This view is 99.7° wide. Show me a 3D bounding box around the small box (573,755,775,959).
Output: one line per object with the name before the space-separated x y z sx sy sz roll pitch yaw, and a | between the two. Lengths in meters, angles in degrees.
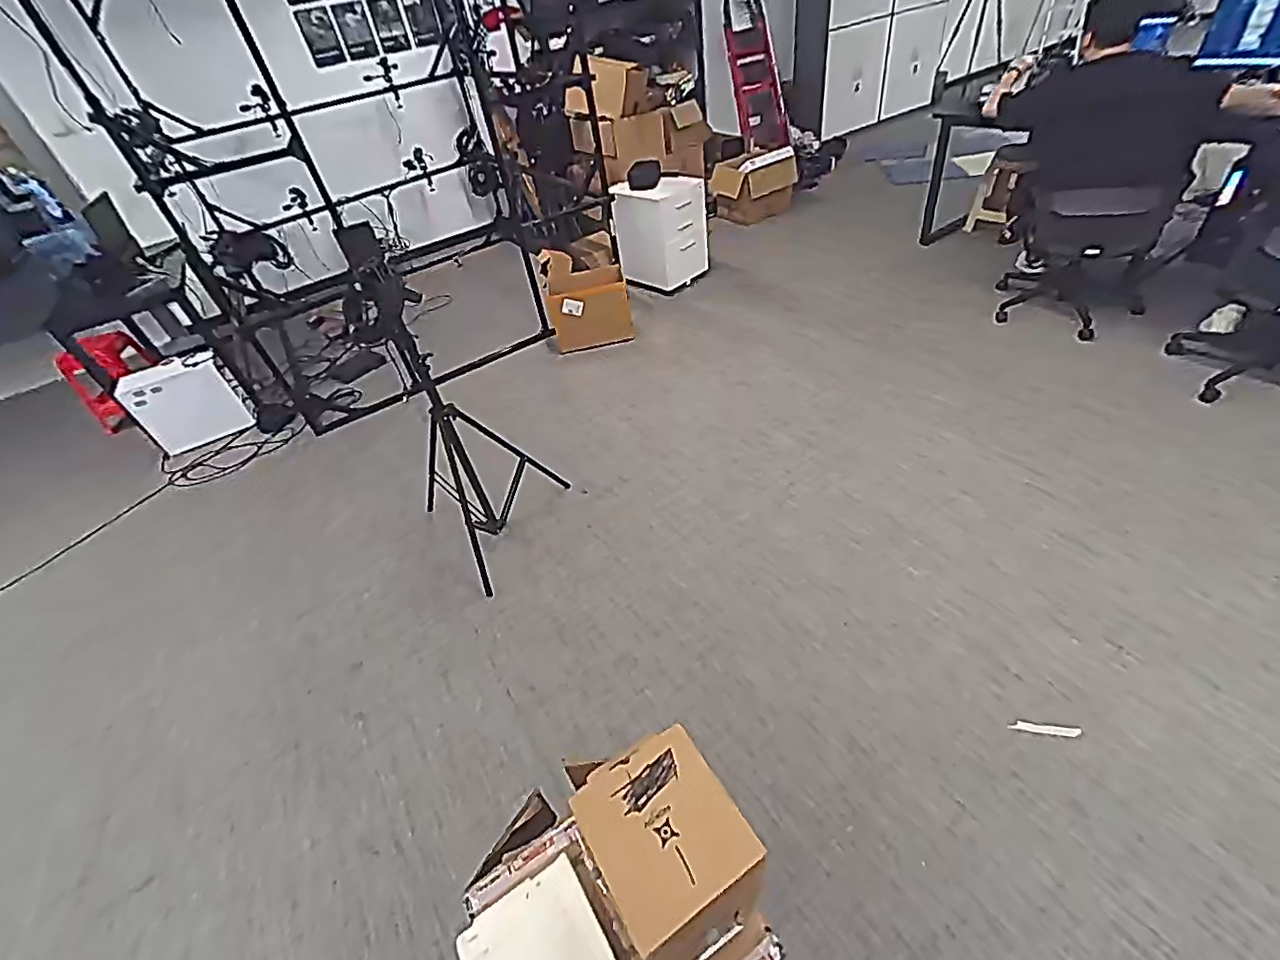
small box | 0.039 0.486 0.657 0.168 0.176 0.179 -27 46 -19
